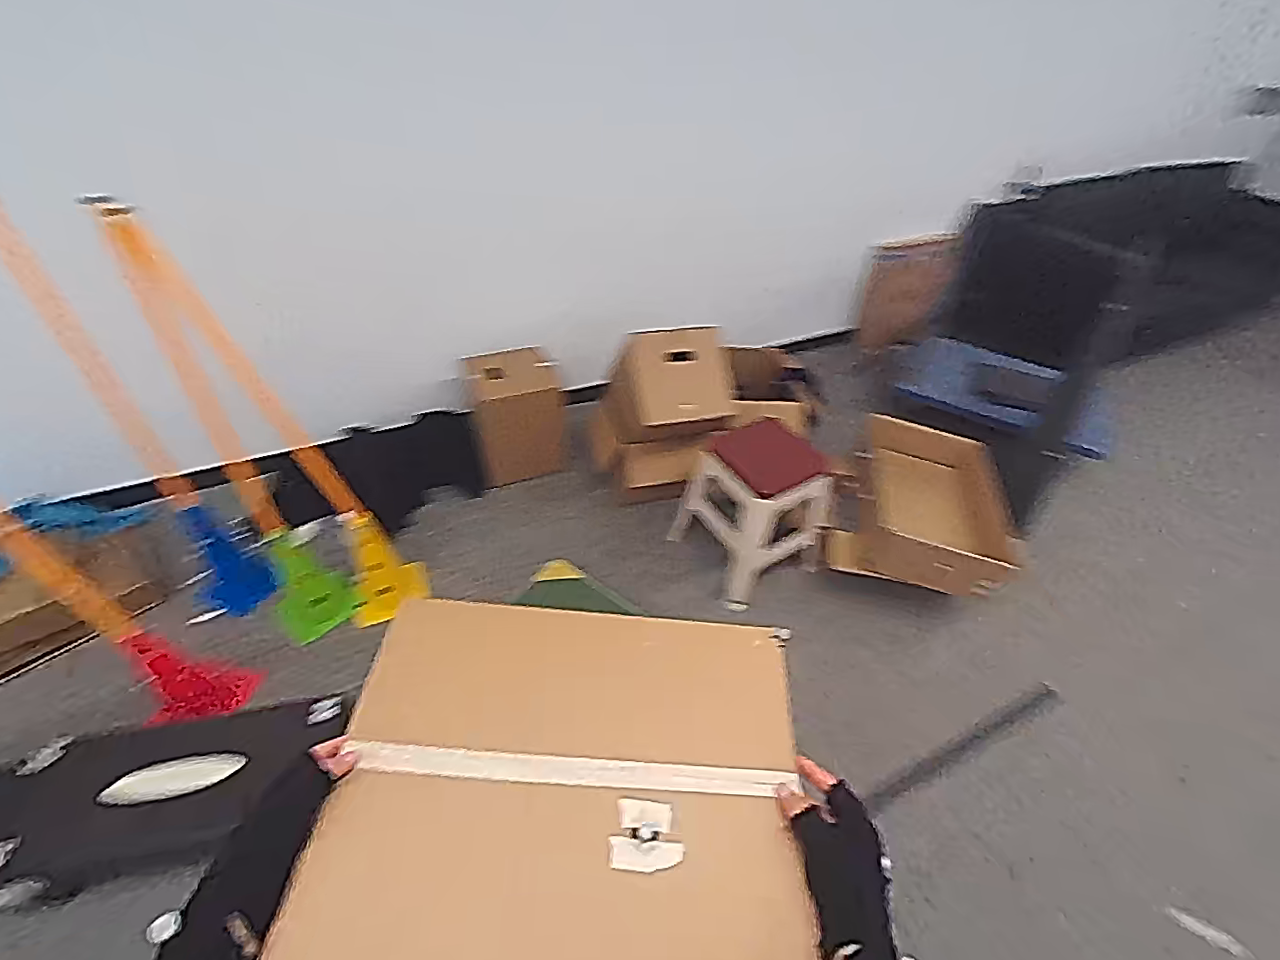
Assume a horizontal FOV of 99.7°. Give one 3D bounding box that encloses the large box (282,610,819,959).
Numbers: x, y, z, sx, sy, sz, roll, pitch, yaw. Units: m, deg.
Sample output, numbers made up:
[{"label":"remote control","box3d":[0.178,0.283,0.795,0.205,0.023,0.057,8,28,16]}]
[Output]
[{"label":"large box","box3d":[-0.070,0.371,0.591,0.408,0.320,0.320,7,47,-2]}]
